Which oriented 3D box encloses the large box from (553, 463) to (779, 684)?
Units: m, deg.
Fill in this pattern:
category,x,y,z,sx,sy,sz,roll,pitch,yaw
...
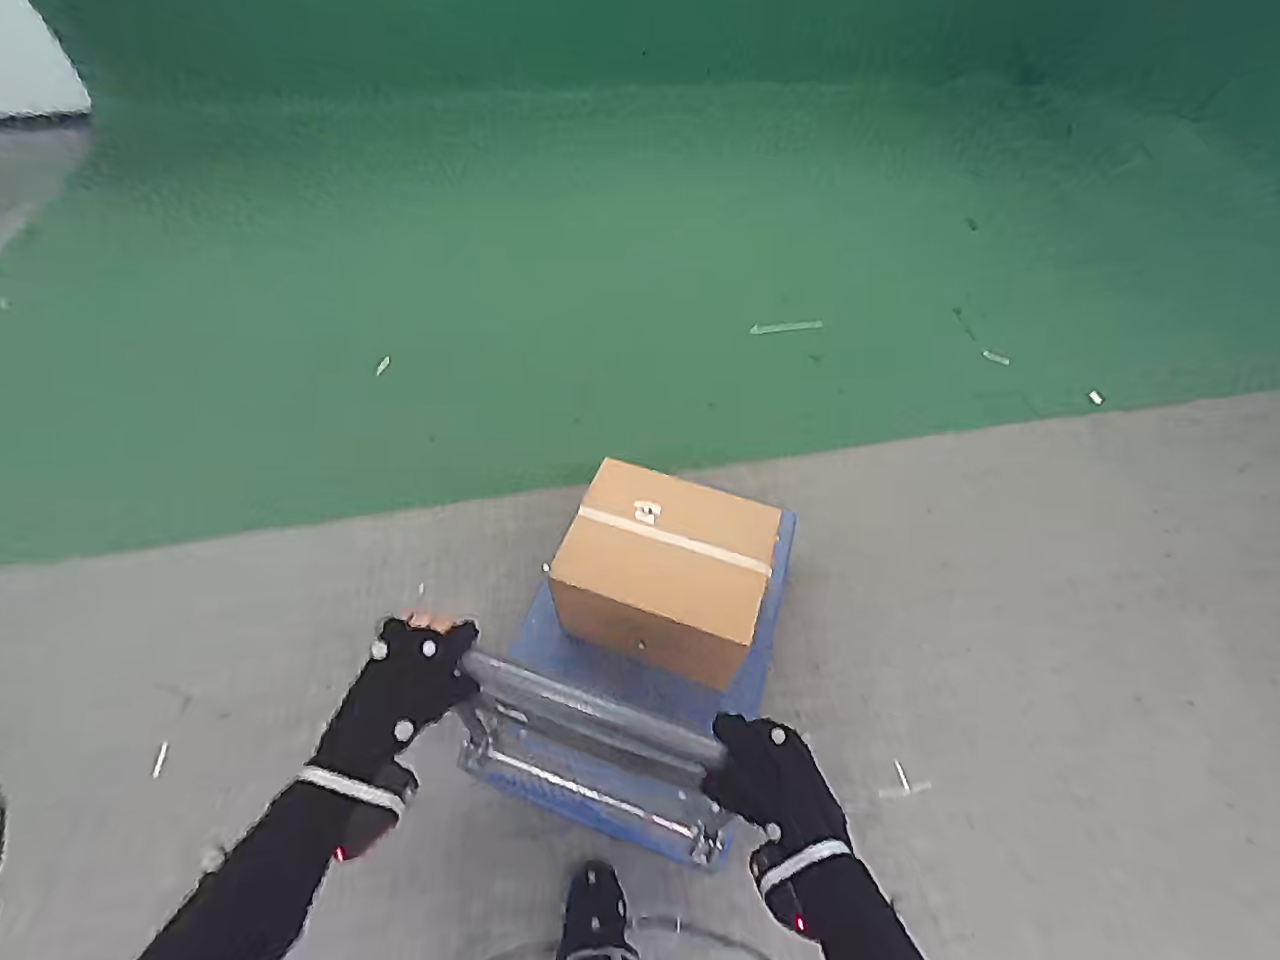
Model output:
category,x,y,z,sx,sy,sz,roll,pitch,yaw
large box,0.065,0.214,1.223,0.408,0.320,0.320,16,54,12
